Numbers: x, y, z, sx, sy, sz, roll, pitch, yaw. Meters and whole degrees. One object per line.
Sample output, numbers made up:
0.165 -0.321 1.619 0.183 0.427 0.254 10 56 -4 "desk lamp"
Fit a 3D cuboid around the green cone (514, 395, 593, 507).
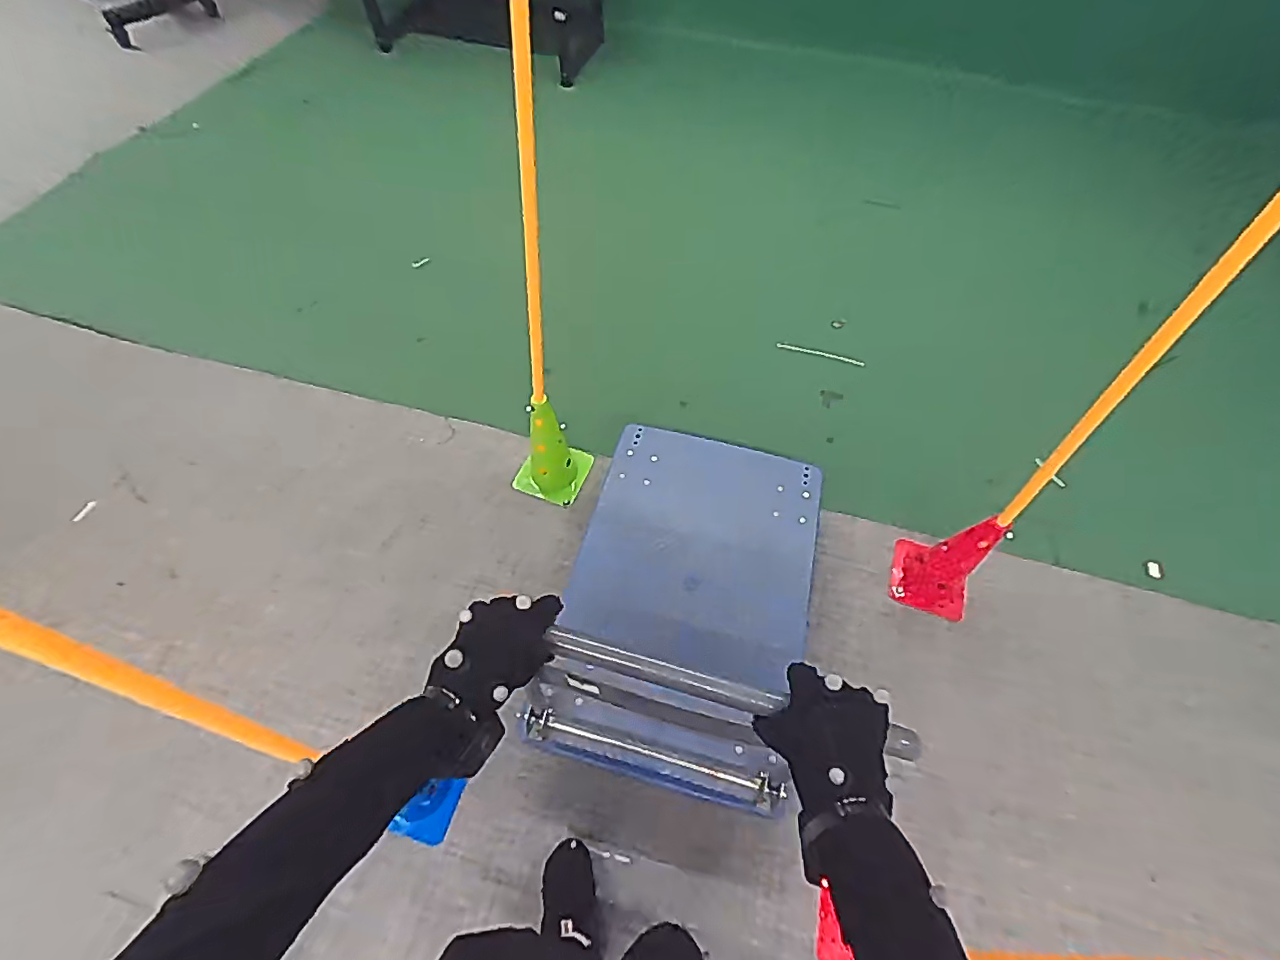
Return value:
-0.266 -0.111 1.545 0.202 0.368 0.200 18 59 10 "green cone"
